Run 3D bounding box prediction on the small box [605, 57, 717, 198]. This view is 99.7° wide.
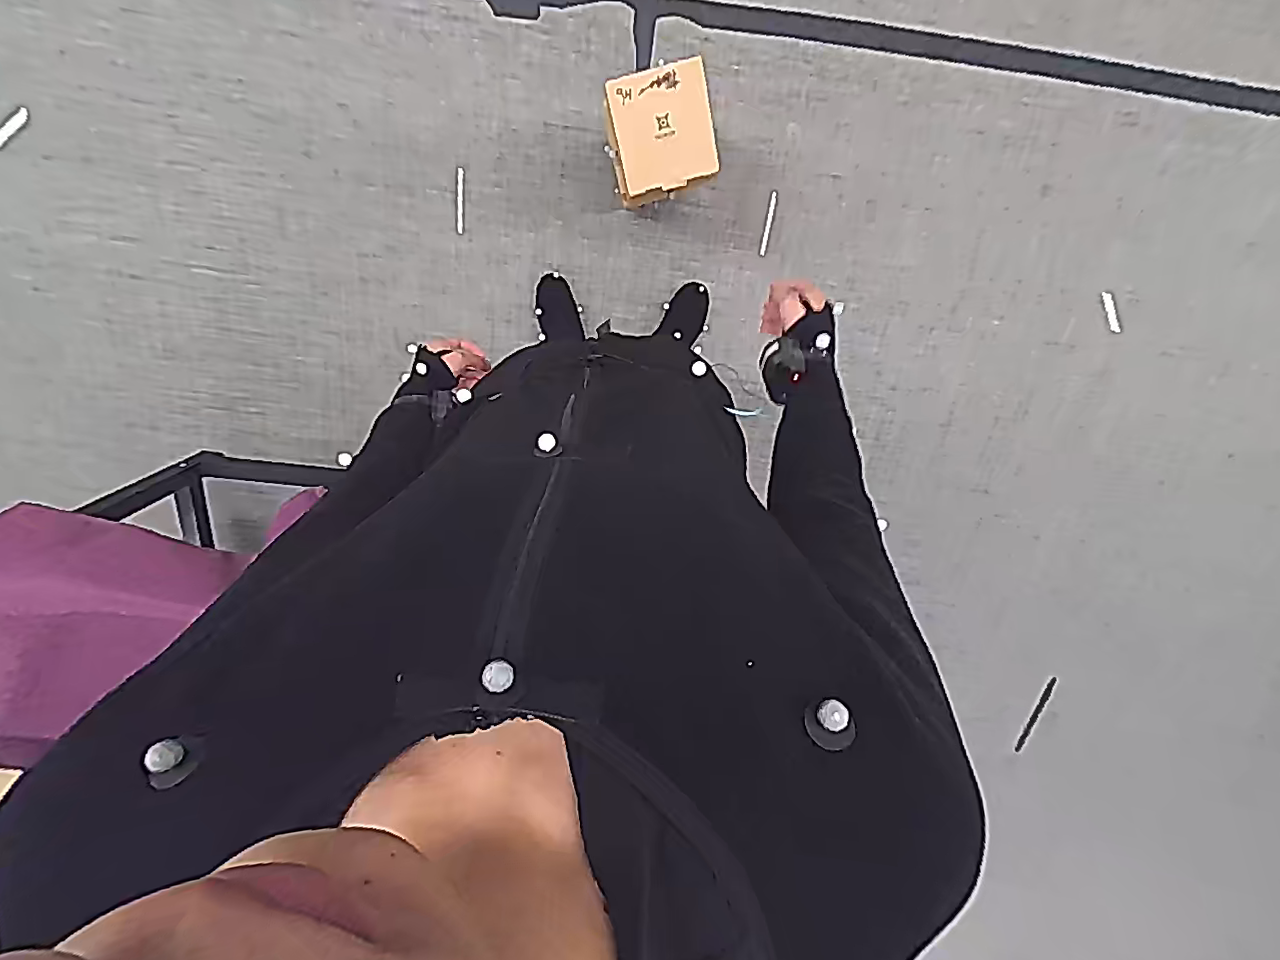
[{"bbox_3d":[0.038,-0.631,0.993,0.168,0.176,0.179,-13,114,4],"label":"small box"}]
